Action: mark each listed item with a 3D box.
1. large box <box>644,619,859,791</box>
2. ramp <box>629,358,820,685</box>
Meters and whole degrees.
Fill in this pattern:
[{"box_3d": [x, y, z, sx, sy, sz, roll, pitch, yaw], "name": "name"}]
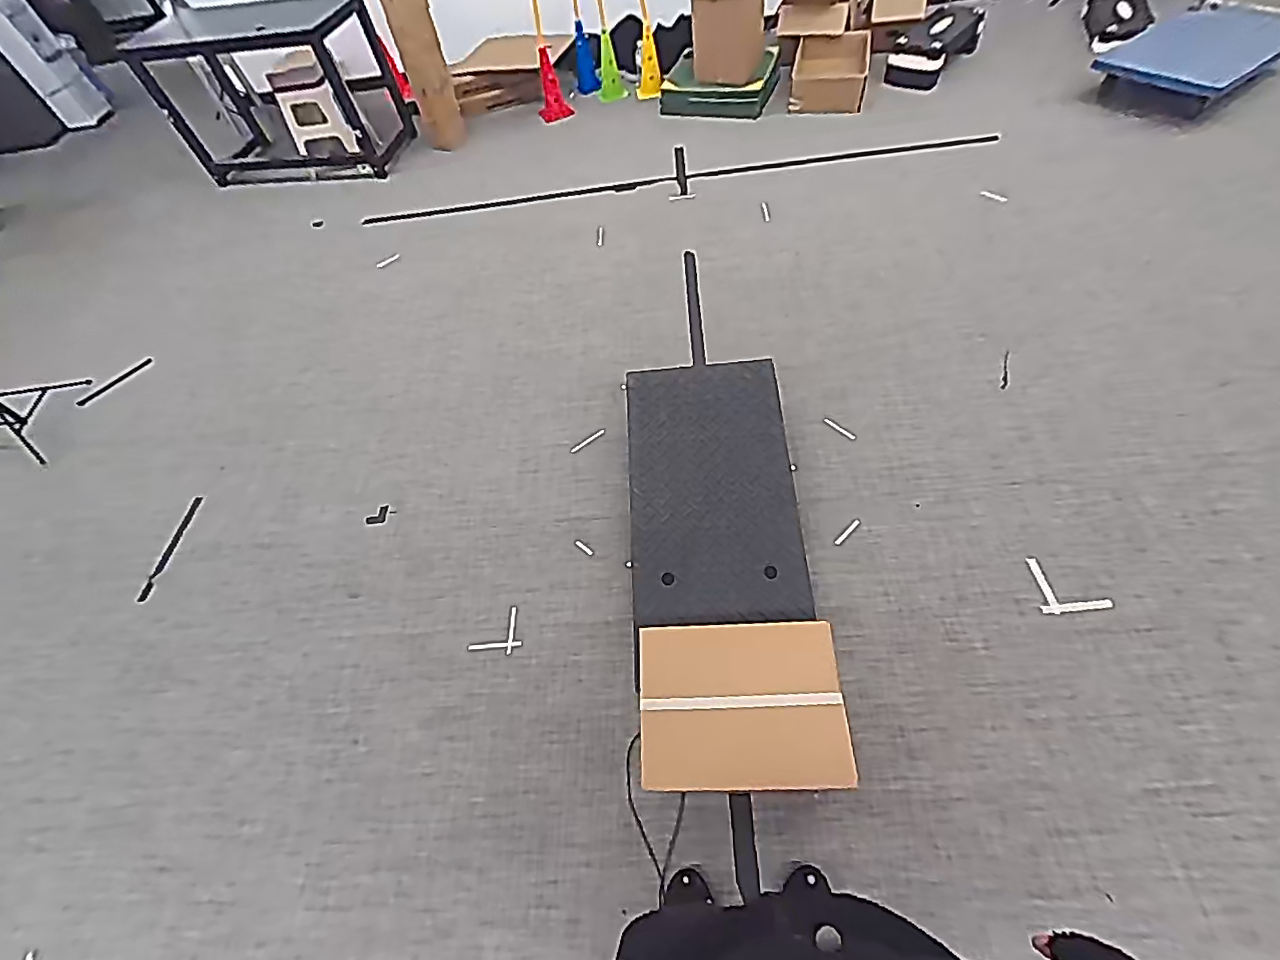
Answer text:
[{"box_3d": [0.229, 0.519, 1.224, 0.408, 0.320, 0.320, -4, 59, 6], "name": "large box"}, {"box_3d": [0.225, 0.072, 1.609, 0.509, 0.206, 0.991, -6, 56, 3], "name": "ramp"}]
